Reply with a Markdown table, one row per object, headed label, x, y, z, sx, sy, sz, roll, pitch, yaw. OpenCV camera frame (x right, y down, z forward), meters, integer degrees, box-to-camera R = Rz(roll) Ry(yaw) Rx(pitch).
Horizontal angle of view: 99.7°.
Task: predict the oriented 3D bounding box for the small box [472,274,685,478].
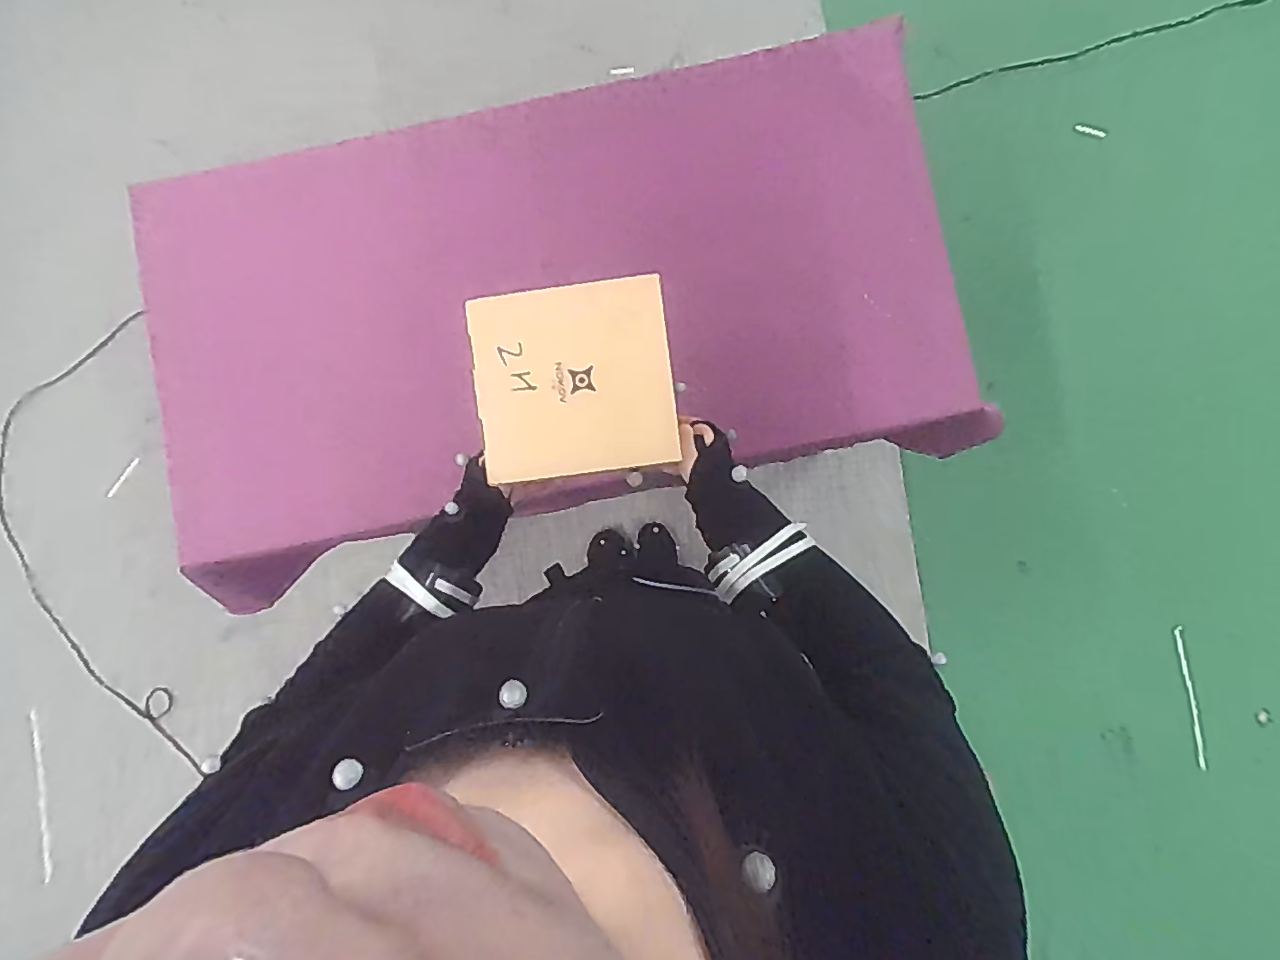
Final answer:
| label | x | y | z | sx | sy | sz | roll | pitch | yaw |
| --- | --- | --- | --- | --- | --- | --- | --- | --- | --- |
| small box | -0.052 | -0.094 | 0.555 | 0.179 | 0.176 | 0.168 | -6 | 91 | 3 |
